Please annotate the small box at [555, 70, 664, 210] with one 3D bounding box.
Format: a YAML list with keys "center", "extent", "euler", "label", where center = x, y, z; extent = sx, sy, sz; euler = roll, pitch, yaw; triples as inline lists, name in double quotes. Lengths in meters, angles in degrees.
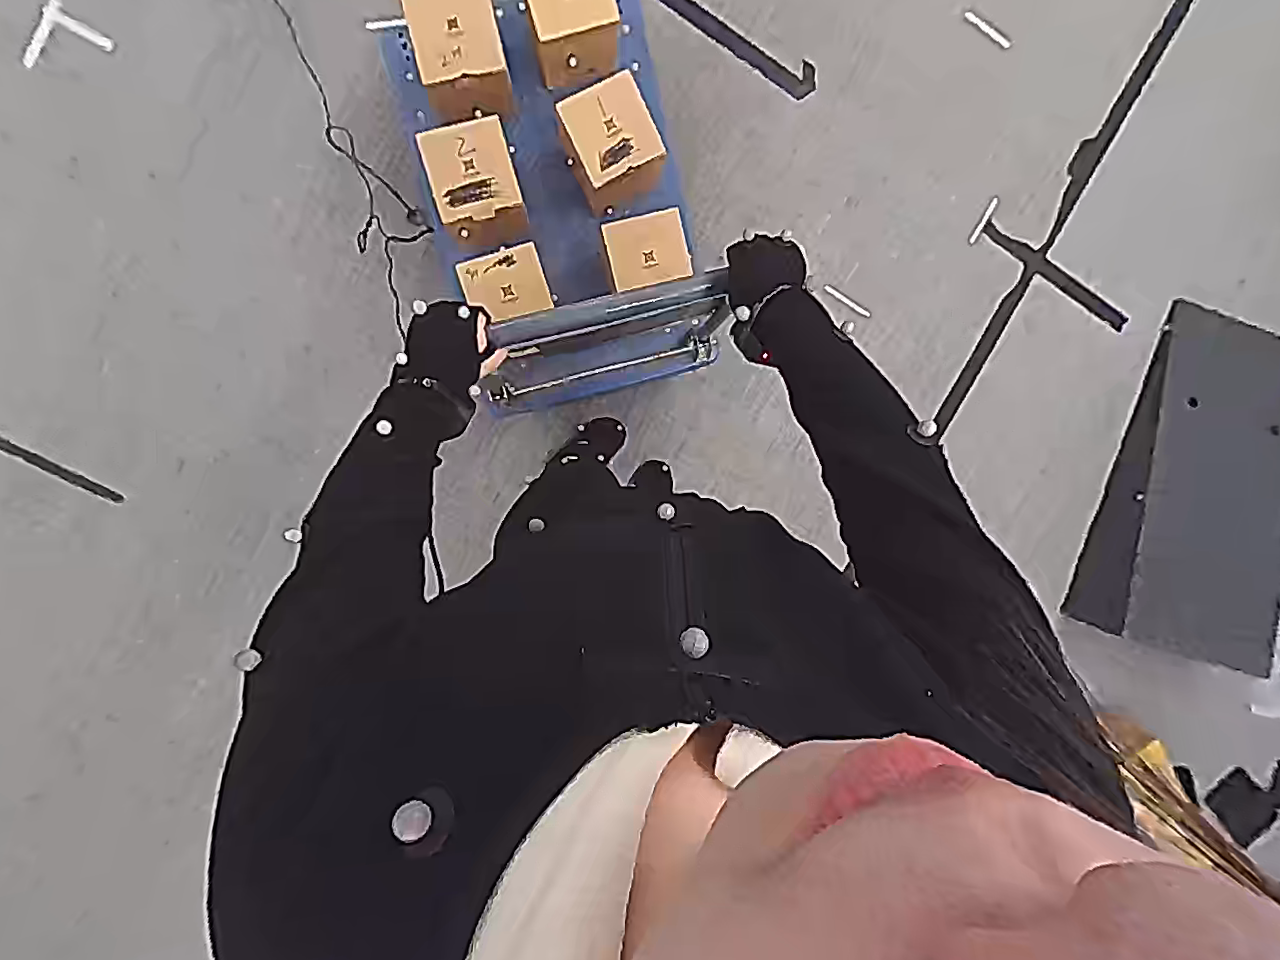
- center: [-0.064, -0.709, 1.157]
  extent: [0.168, 0.176, 0.179]
  euler: [-27, 97, -2]
  label: "small box"

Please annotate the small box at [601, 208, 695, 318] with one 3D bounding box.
- center: [0.014, -0.466, 1.192]
  extent: [0.168, 0.176, 0.179]
  euler: [-14, 97, -4]
  label: "small box"

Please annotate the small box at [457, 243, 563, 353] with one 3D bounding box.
- center: [-0.272, -0.383, 1.174]
  extent: [0.168, 0.176, 0.179]
  euler: [-19, 98, -4]
  label: "small box"

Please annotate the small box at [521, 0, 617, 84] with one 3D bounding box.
- center: [-0.149, -0.966, 1.121]
  extent: [0.168, 0.176, 0.179]
  euler: [-18, 98, -2]
  label: "small box"

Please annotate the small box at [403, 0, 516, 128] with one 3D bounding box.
- center: [-0.363, -0.870, 1.112]
  extent: [0.168, 0.176, 0.179]
  euler: [-13, 98, -3]
  label: "small box"
